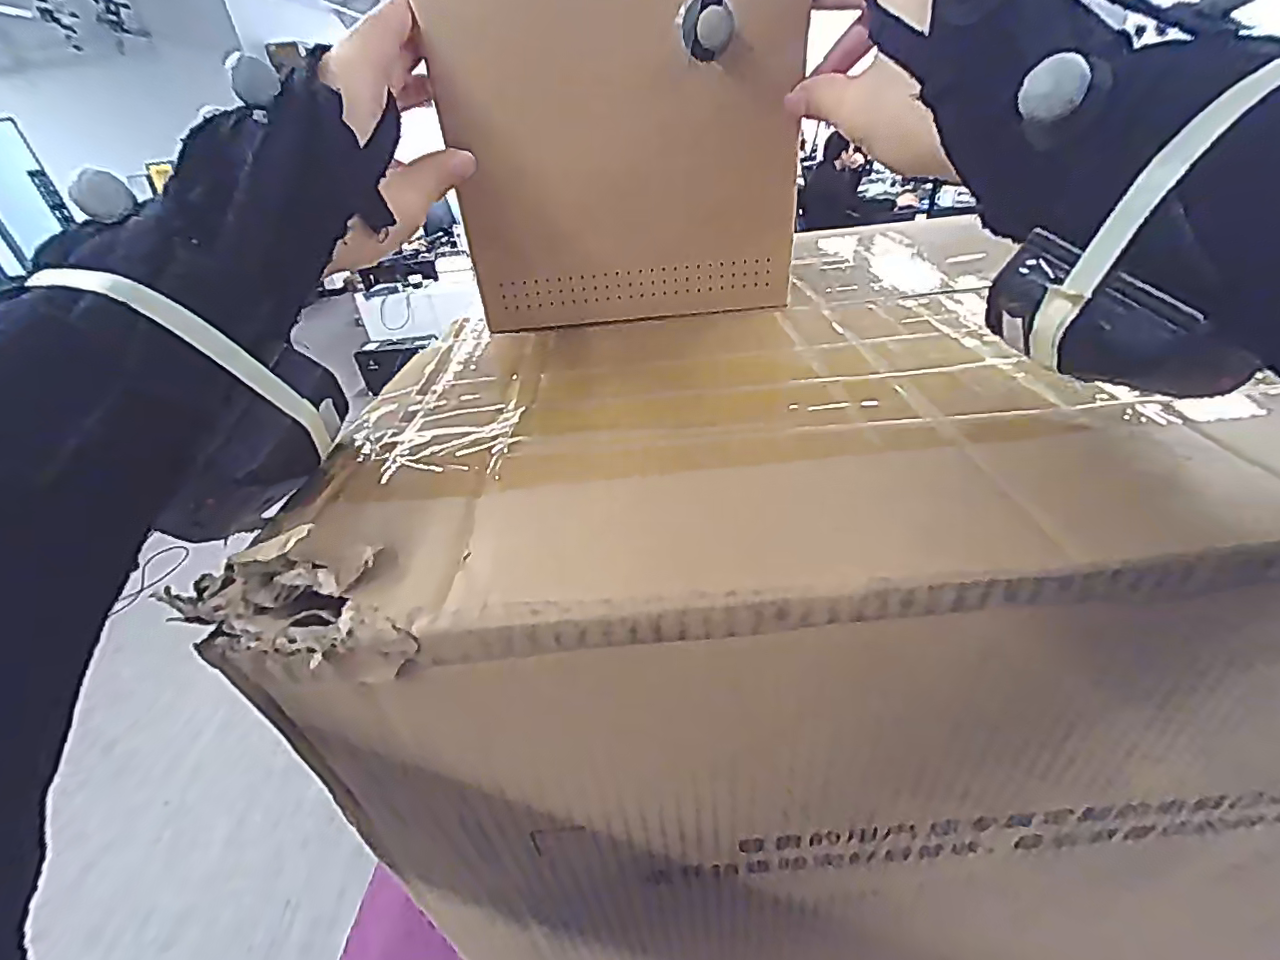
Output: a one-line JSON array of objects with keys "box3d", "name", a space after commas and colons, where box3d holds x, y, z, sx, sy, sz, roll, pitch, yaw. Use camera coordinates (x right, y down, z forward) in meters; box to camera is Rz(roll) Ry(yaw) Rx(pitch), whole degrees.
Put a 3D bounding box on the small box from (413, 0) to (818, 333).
[{"box3d": [-0.009, -0.200, 0.328, 0.179, 0.176, 0.168, -5, 34, 0], "name": "small box"}]
